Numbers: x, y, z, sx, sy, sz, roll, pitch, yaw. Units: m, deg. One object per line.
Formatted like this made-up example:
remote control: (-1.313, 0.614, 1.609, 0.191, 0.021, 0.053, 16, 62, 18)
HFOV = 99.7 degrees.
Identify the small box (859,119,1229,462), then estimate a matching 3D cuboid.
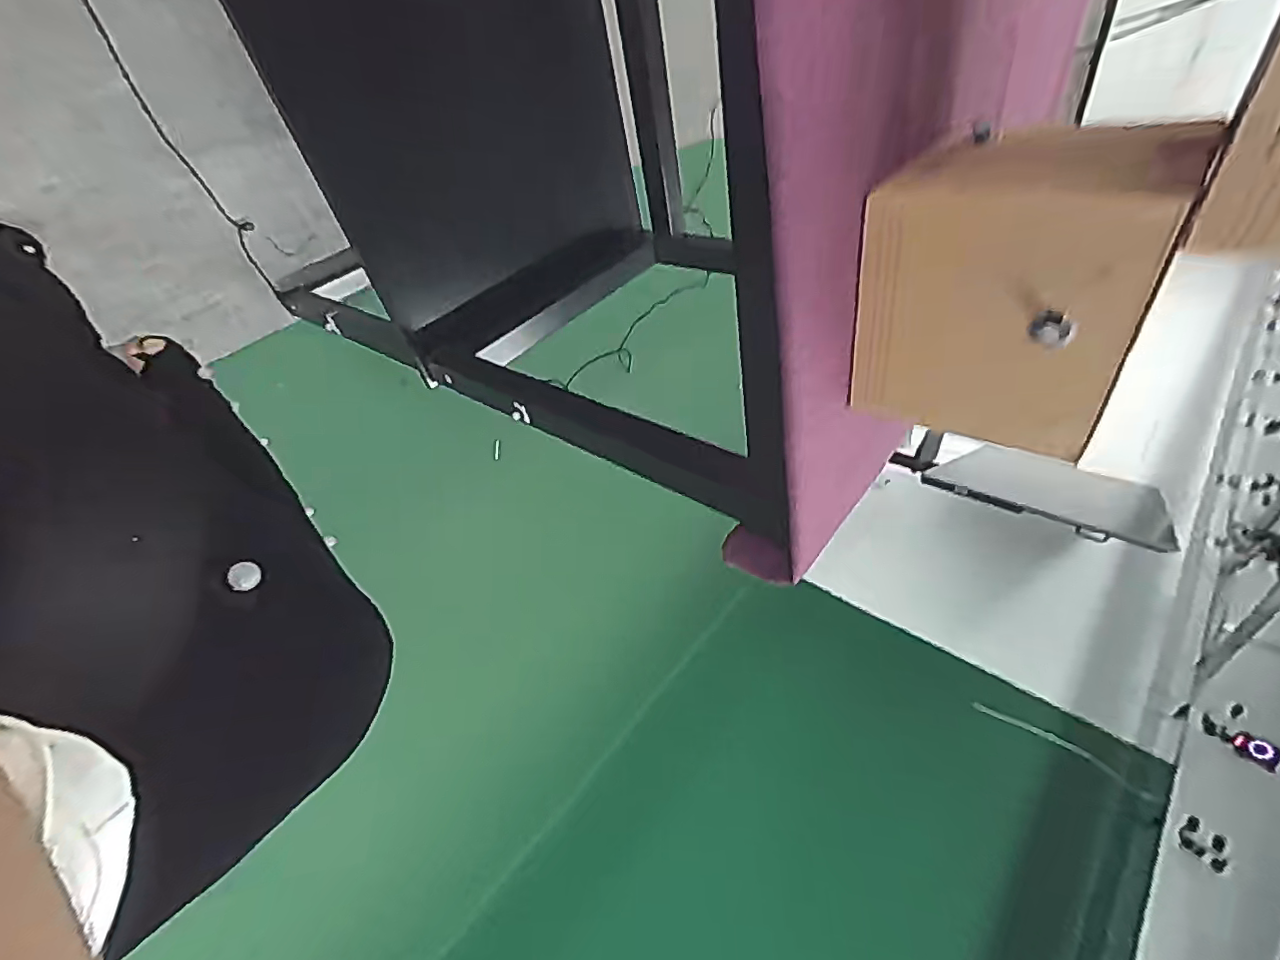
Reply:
small box: (0.282, -0.146, 0.408, 0.168, 0.176, 0.179, -43, 138, -30)

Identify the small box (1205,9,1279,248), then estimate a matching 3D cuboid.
small box: (0.380, -0.202, 0.220, 0.179, 0.176, 0.168, -45, 140, -29)
